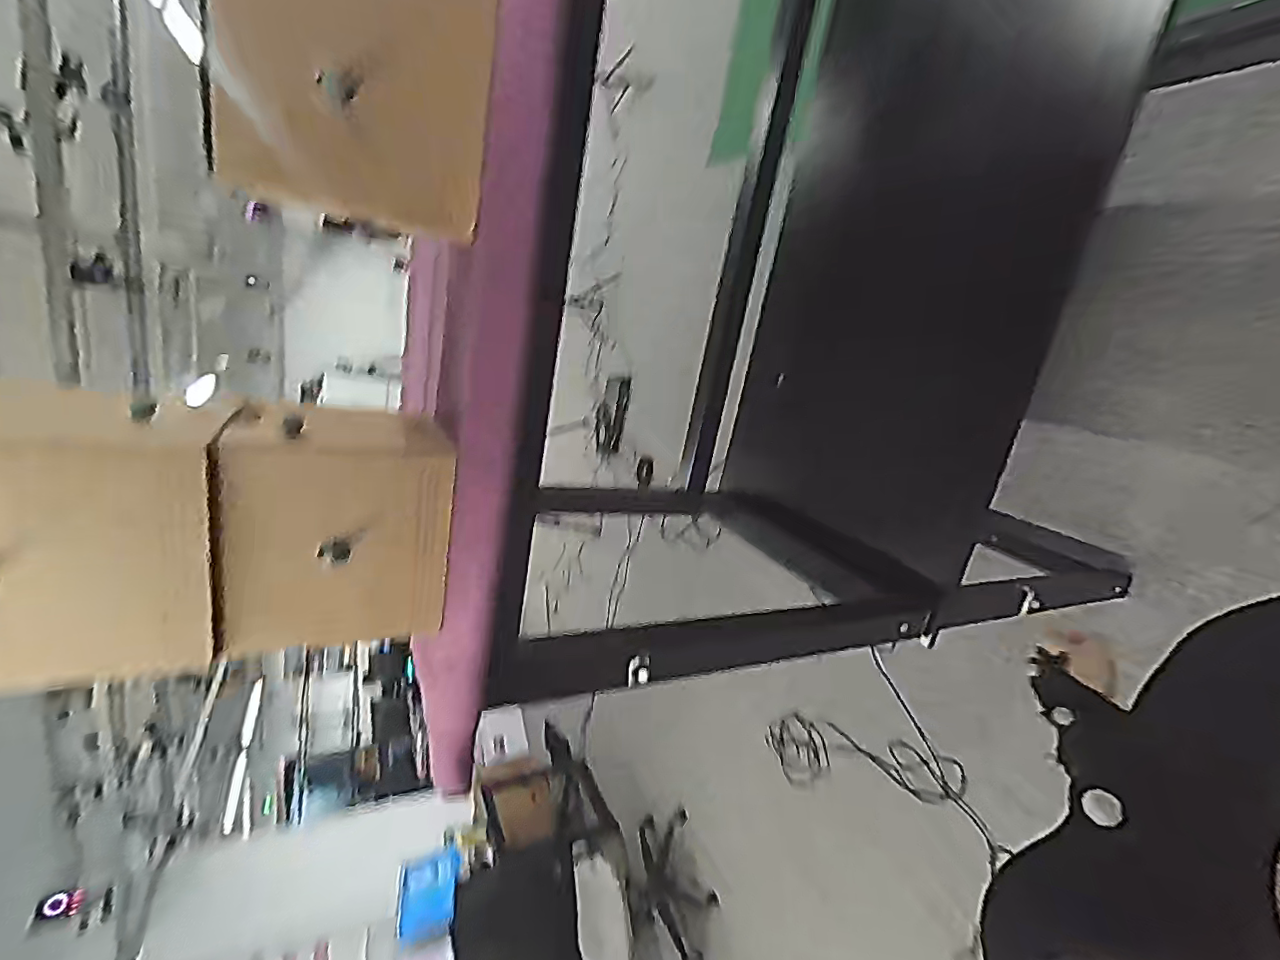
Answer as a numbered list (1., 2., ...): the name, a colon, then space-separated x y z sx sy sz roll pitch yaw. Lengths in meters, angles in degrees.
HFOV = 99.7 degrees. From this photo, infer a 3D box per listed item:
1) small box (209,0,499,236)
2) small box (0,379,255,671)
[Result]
1. small box: -0.215 -0.299 0.425 0.168 0.176 0.179 38 121 55
2. small box: -0.410 0.030 0.415 0.168 0.176 0.179 33 117 56
